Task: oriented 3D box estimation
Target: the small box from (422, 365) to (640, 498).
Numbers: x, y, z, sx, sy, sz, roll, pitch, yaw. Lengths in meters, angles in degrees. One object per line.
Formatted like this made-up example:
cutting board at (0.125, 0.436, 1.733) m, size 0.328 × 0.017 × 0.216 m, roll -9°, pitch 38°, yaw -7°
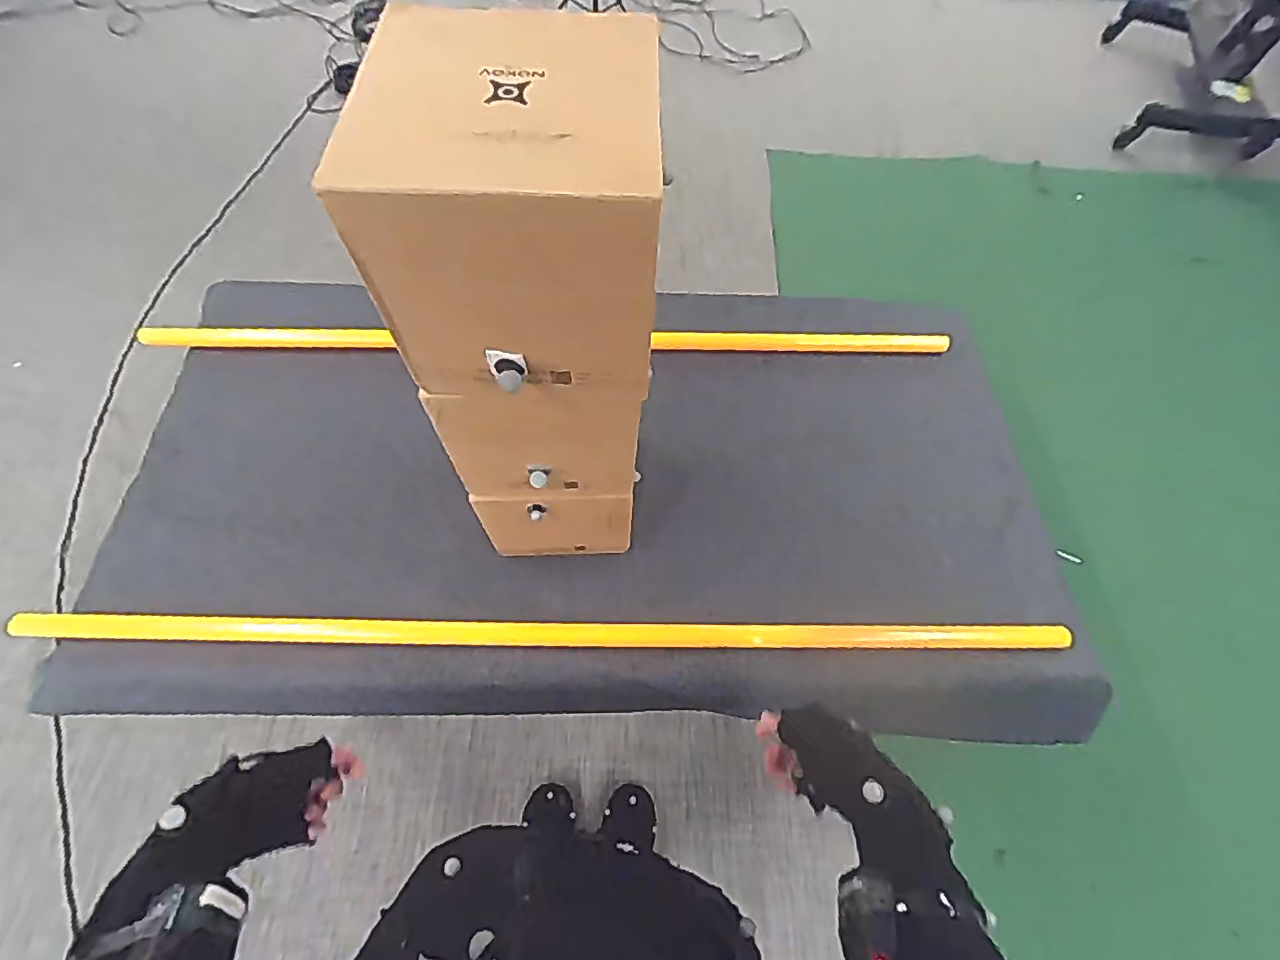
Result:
small box at (-0.087, -0.098, 0.514) m, size 0.168 × 0.176 × 0.179 m, roll 0°, pitch 63°, yaw -3°

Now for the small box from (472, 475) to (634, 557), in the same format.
small box at (-0.095, -0.018, 0.658) m, size 0.168 × 0.176 × 0.179 m, roll -2°, pitch 62°, yaw -3°

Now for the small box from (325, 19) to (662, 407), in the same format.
small box at (-0.073, -0.170, 0.370) m, size 0.168 × 0.176 × 0.179 m, roll 0°, pitch 64°, yaw -1°
